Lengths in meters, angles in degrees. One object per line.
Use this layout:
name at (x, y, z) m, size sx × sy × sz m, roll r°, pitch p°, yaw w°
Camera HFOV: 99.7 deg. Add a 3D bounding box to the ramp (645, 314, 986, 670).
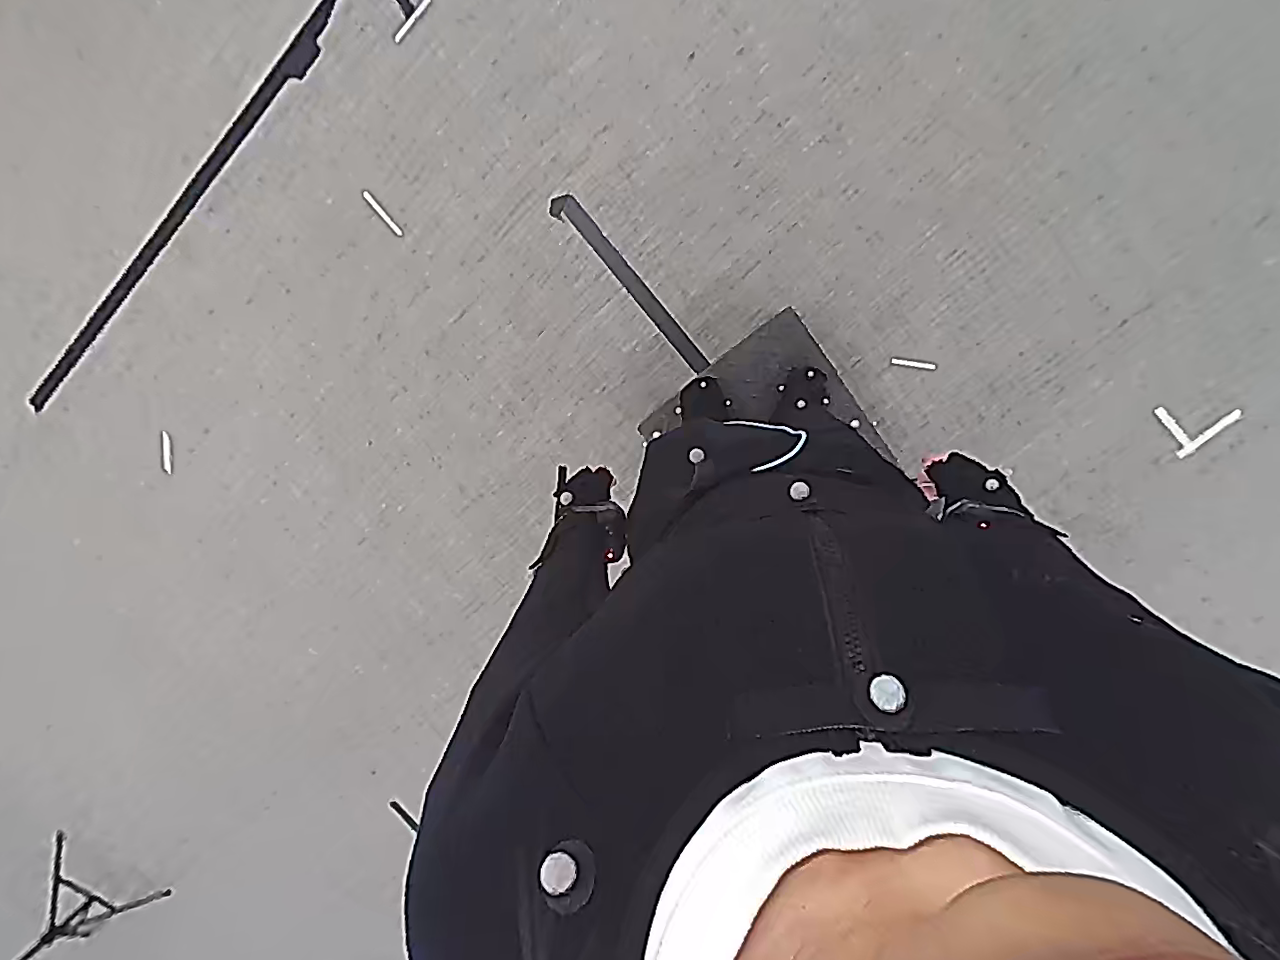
ramp at (0.514, 0.086, 1.507) m, size 0.509 × 0.206 × 0.991 m, roll -41°, pitch 94°, yaw 11°
